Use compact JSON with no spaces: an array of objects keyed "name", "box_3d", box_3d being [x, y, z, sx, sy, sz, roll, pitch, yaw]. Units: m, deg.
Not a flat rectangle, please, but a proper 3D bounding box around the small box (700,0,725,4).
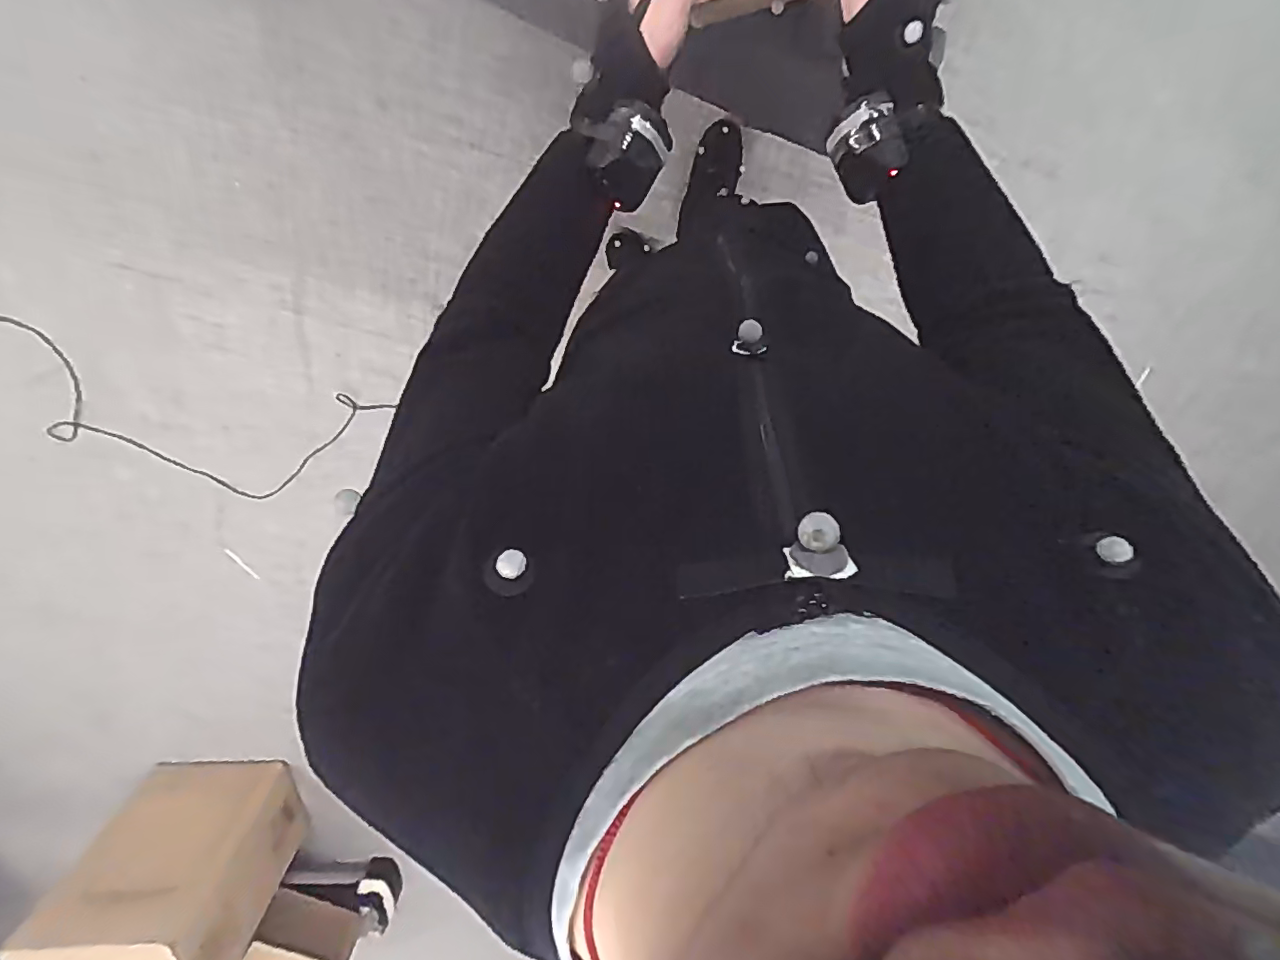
[{"name":"small box","box_3d":[0.120,-0.520,0.436,0.179,0.176,0.168,-7,124,12]}]
